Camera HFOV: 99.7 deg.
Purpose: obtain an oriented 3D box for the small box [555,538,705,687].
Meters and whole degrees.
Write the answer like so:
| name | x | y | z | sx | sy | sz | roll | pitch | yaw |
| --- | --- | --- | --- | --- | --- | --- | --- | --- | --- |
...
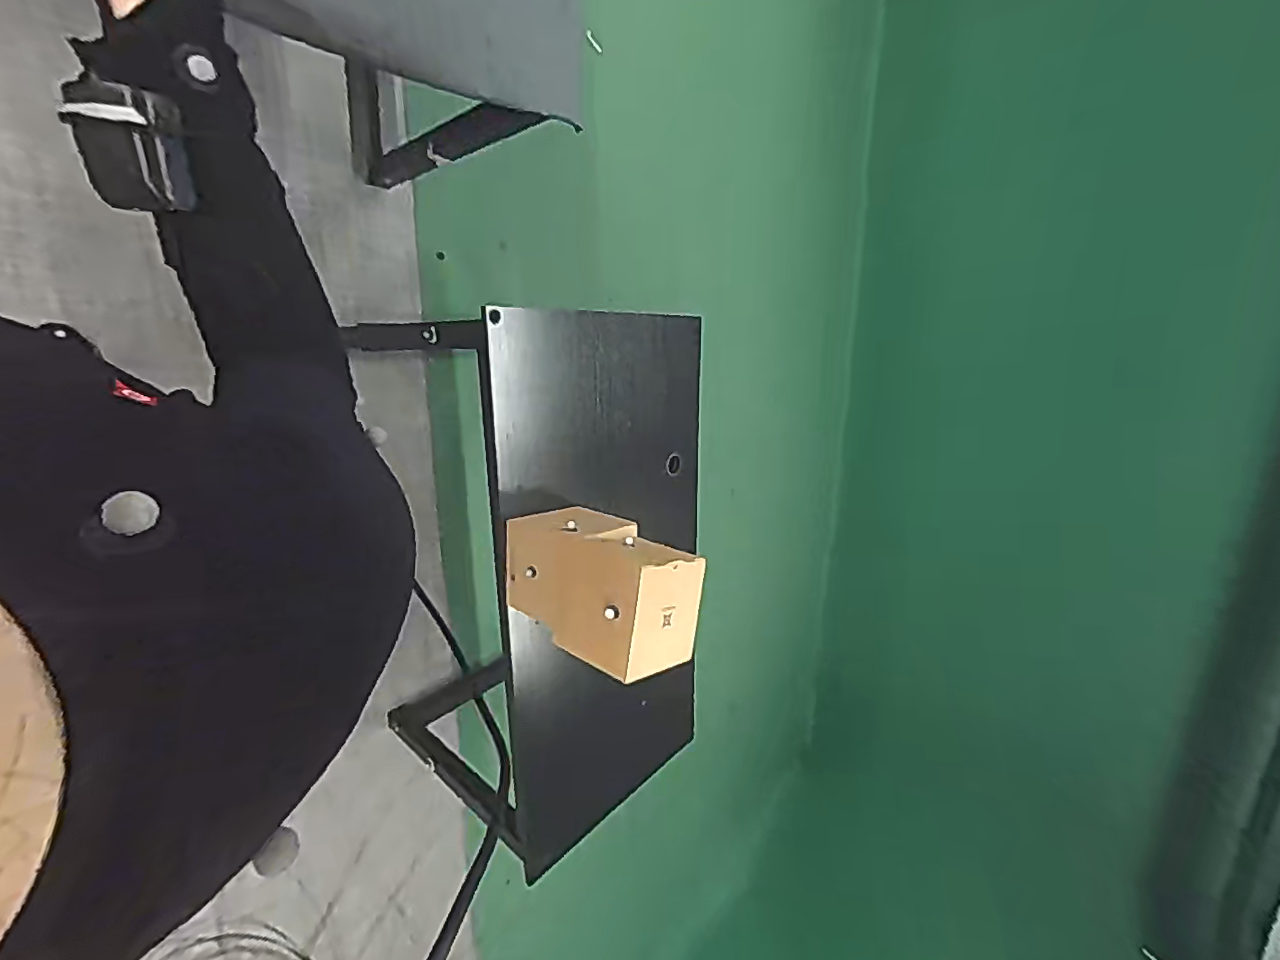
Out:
| name | x | y | z | sx | sy | sz | roll | pitch | yaw |
| --- | --- | --- | --- | --- | --- | --- | --- | --- | --- |
| small box | -0.020 | 0.201 | 0.876 | 0.168 | 0.176 | 0.179 | 2 | 97 | -49 |

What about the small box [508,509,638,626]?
| name | x | y | z | sx | sy | sz | roll | pitch | yaw |
| --- | --- | --- | --- | --- | --- | --- | --- | --- | --- |
| small box | -0.126 | 0.158 | 0.994 | 0.179 | 0.176 | 0.168 | -9 | 107 | -48 |
